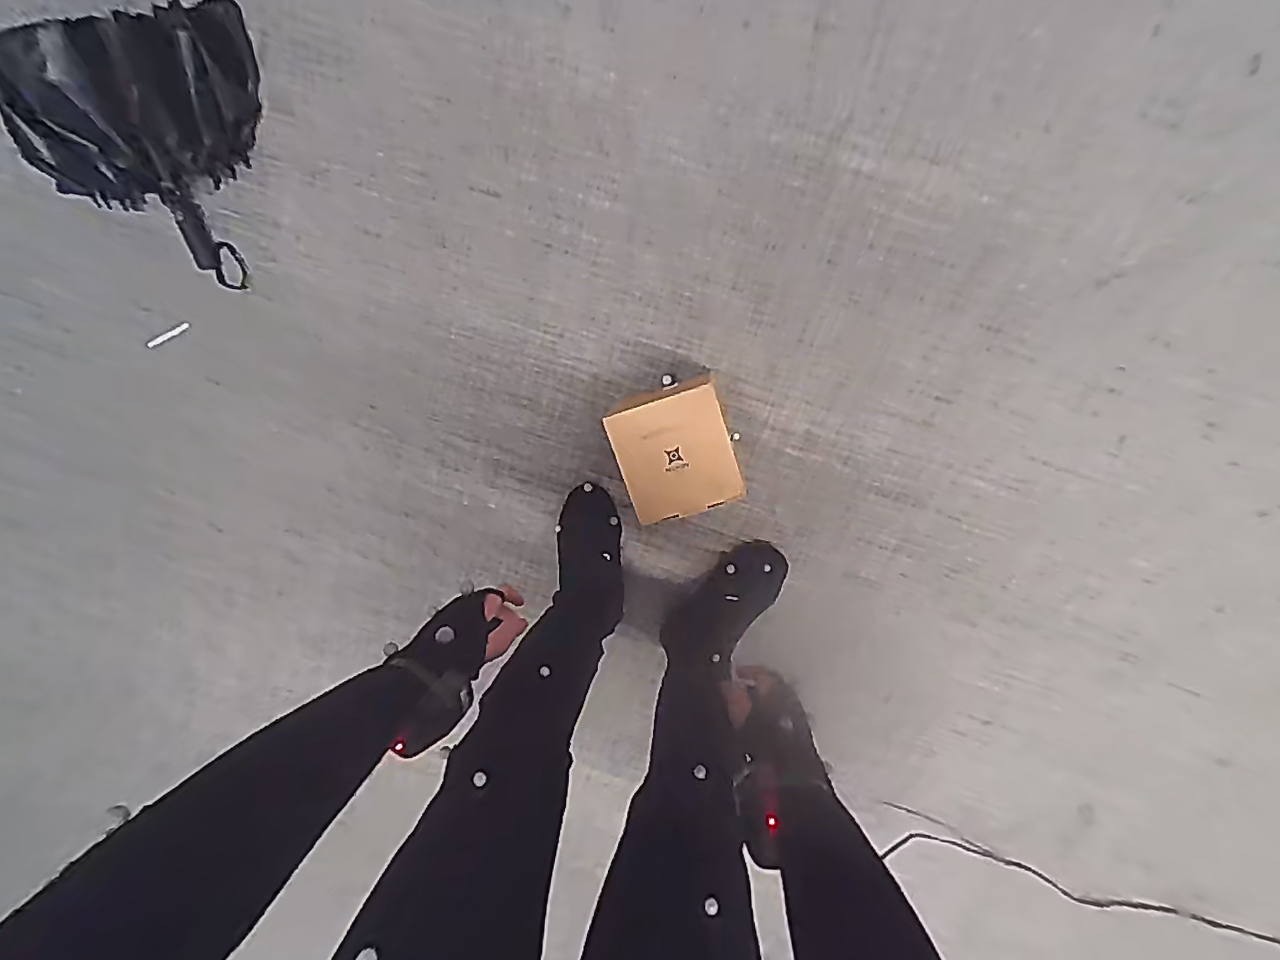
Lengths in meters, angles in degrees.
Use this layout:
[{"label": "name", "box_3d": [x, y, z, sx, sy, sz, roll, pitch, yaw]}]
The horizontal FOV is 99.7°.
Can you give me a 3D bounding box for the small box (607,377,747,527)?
[{"label": "small box", "box_3d": [0.064, -0.051, 0.860, 0.168, 0.176, 0.179, -18, 103, 11]}]
